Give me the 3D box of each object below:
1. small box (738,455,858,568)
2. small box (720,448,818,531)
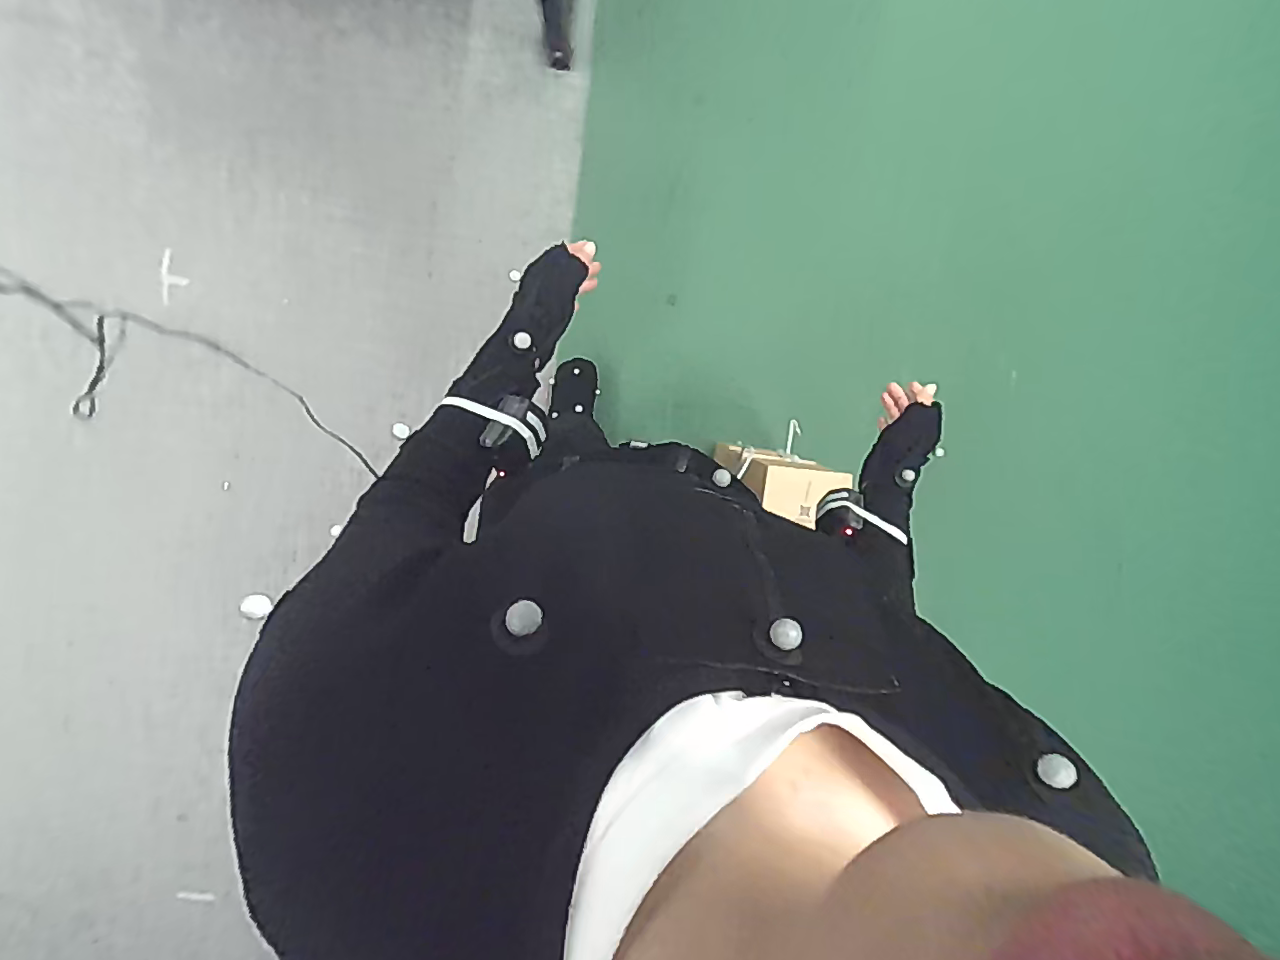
[{"bbox_3d":[0.303,0.055,1.078,0.168,0.176,0.179,10,98,-5],"label":"small box"},{"bbox_3d":[0.287,0.024,1.242,0.168,0.176,0.179,8,98,-3],"label":"small box"}]
